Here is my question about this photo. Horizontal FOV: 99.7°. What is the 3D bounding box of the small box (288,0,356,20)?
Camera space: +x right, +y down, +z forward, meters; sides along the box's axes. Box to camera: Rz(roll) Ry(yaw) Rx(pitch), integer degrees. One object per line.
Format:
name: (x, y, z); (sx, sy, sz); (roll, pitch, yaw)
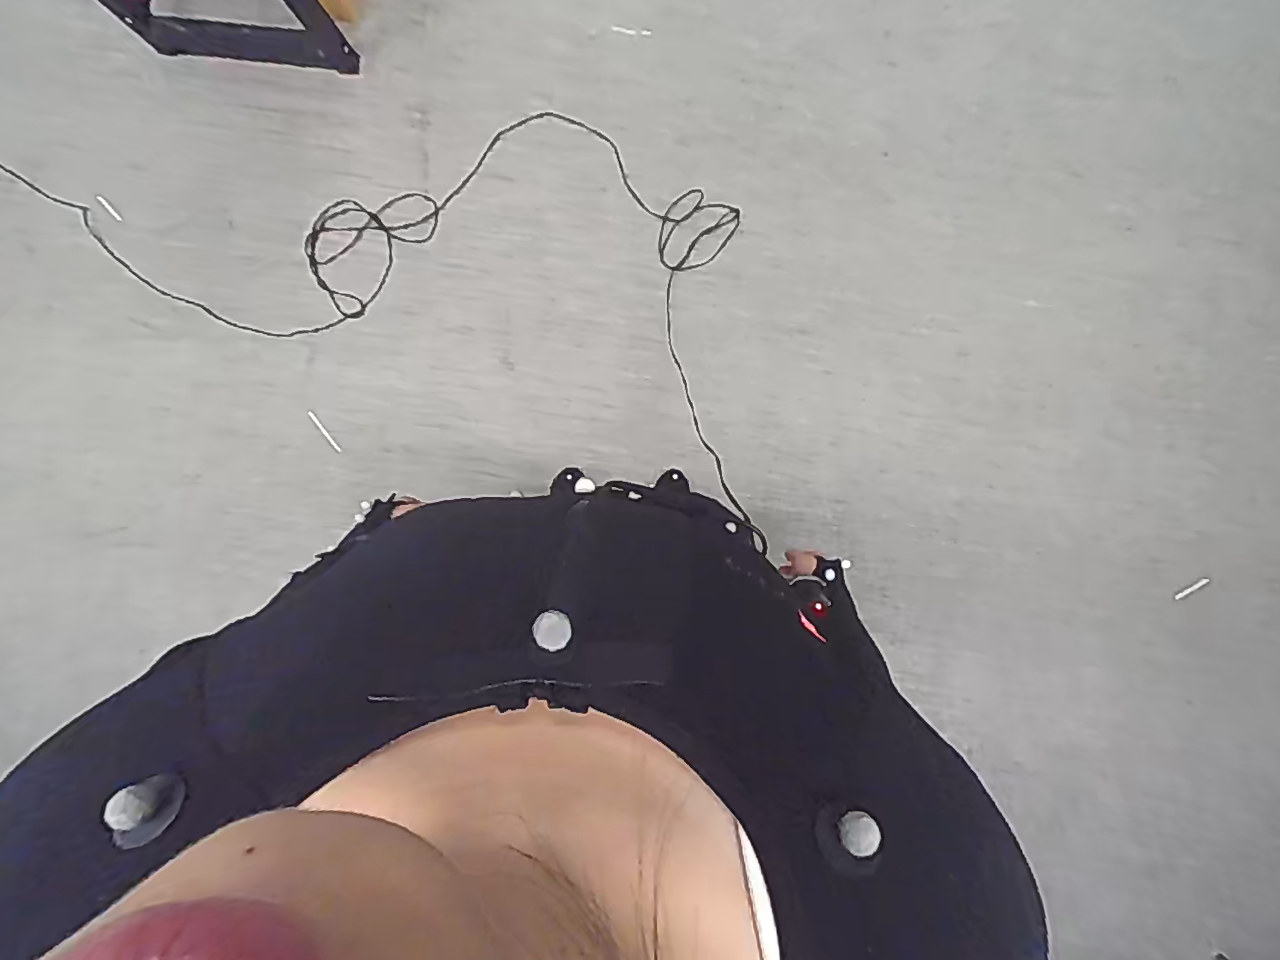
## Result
small box: (-0.860, -1.363, 1.418); (0.179, 0.176, 0.168); (12, 91, 1)
